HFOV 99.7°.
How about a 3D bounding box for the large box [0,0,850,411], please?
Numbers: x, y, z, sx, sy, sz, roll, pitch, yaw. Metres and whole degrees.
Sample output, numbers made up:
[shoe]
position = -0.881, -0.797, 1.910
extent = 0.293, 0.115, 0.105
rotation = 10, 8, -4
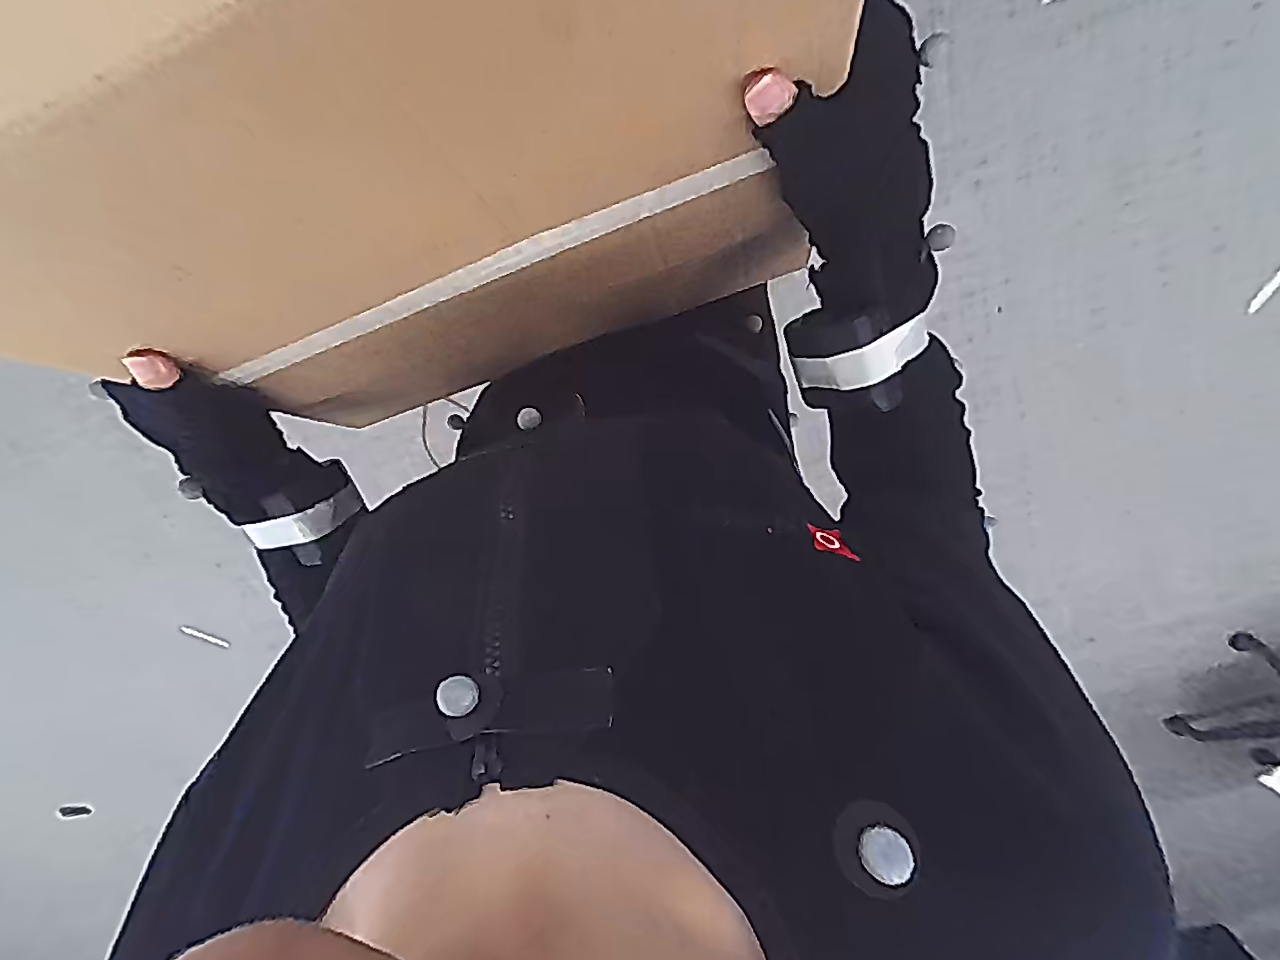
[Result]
[large box]
position = -0.135, -0.271, 0.319
extent = 0.408, 0.320, 0.320
rotation = -17, 84, 10
